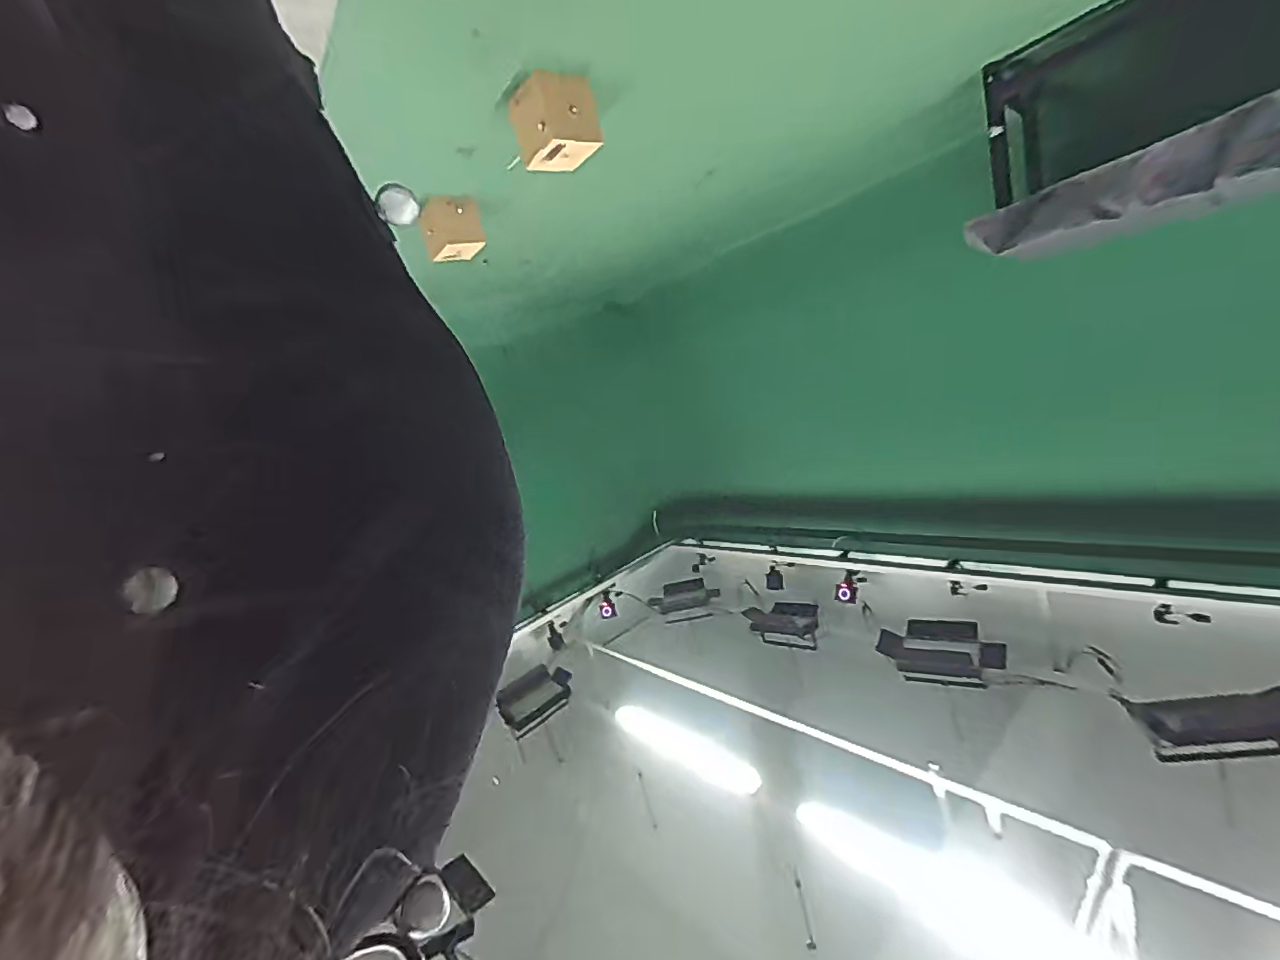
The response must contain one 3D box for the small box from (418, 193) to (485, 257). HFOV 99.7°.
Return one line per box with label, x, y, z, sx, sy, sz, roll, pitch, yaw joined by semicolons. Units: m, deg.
small box;-0.713;-0.957;2.031;0.168;0.176;0.179;-25;-166;-38
